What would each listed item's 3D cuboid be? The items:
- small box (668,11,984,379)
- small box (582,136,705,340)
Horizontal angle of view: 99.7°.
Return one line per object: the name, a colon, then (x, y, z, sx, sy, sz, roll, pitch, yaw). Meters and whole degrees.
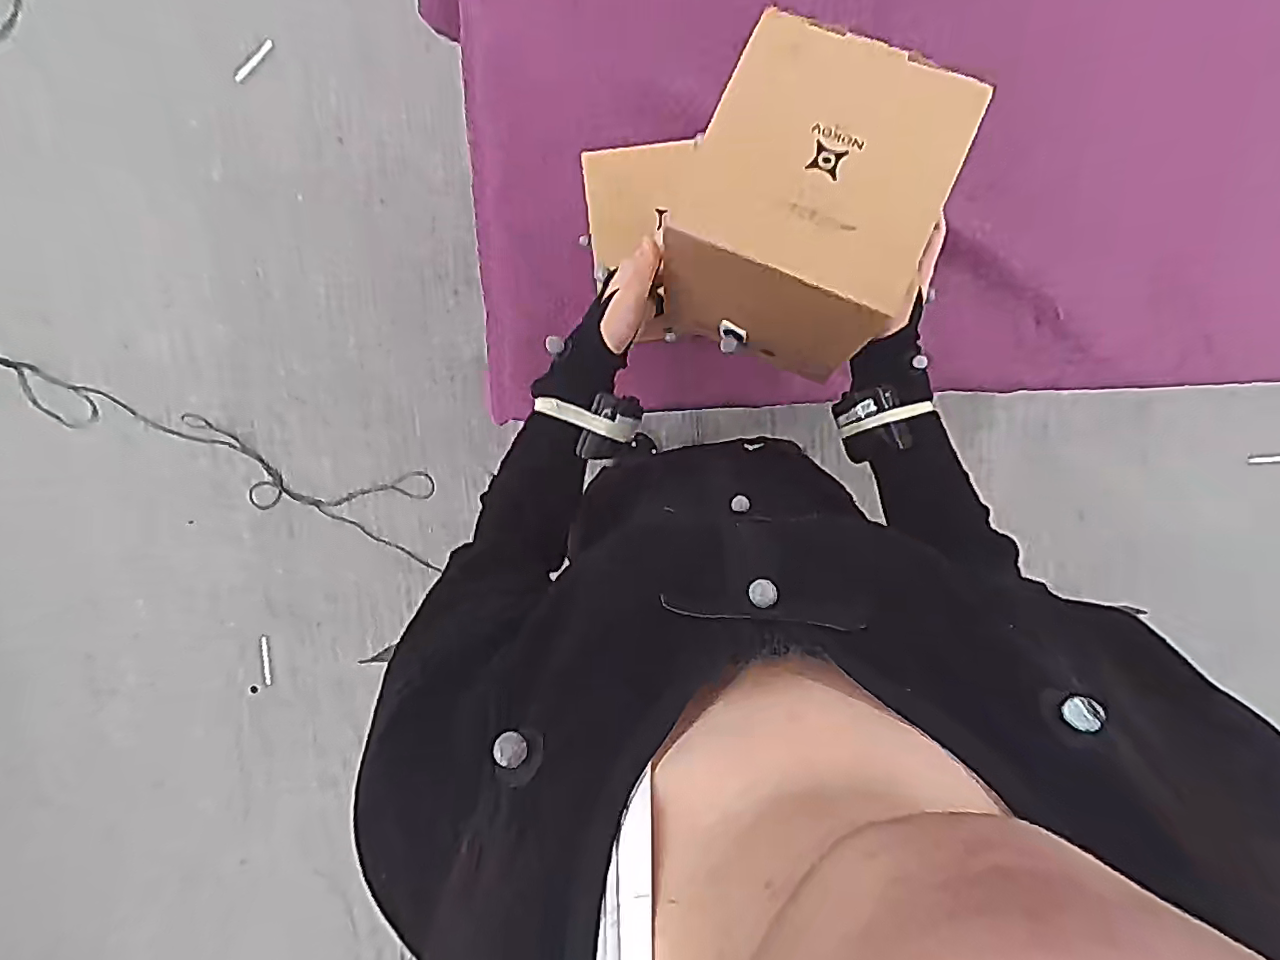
small box: (0.129, -0.208, 0.443, 0.168, 0.176, 0.179, 24, 87, 5)
small box: (0.024, -0.283, 0.665, 0.168, 0.176, 0.179, -7, 94, 0)
